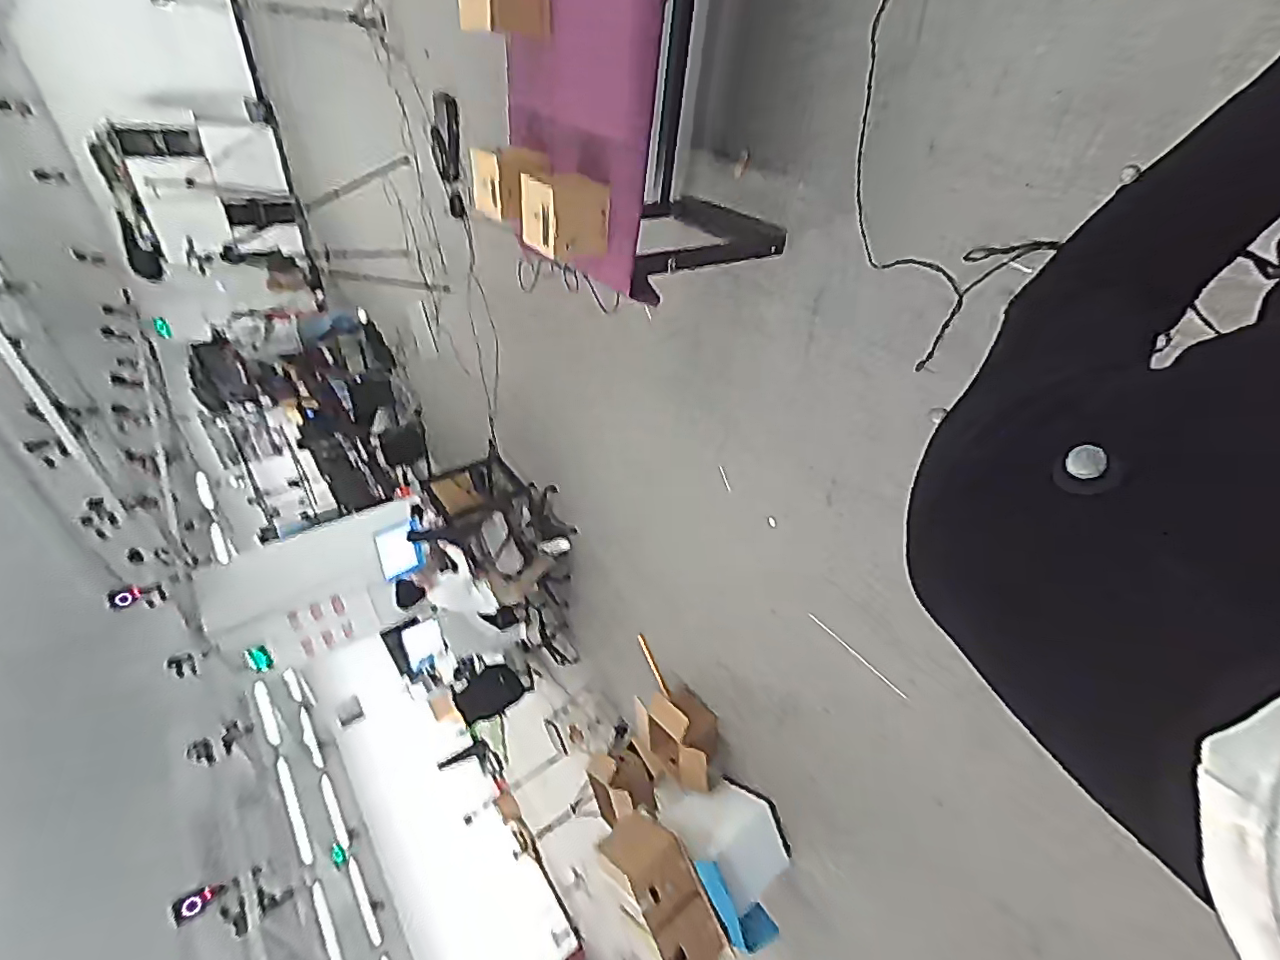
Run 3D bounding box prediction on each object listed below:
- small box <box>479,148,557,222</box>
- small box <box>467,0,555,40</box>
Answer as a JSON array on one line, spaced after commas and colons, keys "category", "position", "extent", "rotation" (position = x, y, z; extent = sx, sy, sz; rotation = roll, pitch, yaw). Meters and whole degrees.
[{"category": "small box", "position": [-0.358, -0.883, 1.610], "extent": [0.179, 0.176, 0.168], "rotation": [41, 140, 37]}, {"category": "small box", "position": [-0.320, -1.215, 1.348], "extent": [0.179, 0.176, 0.168], "rotation": [42, 140, 36]}]
